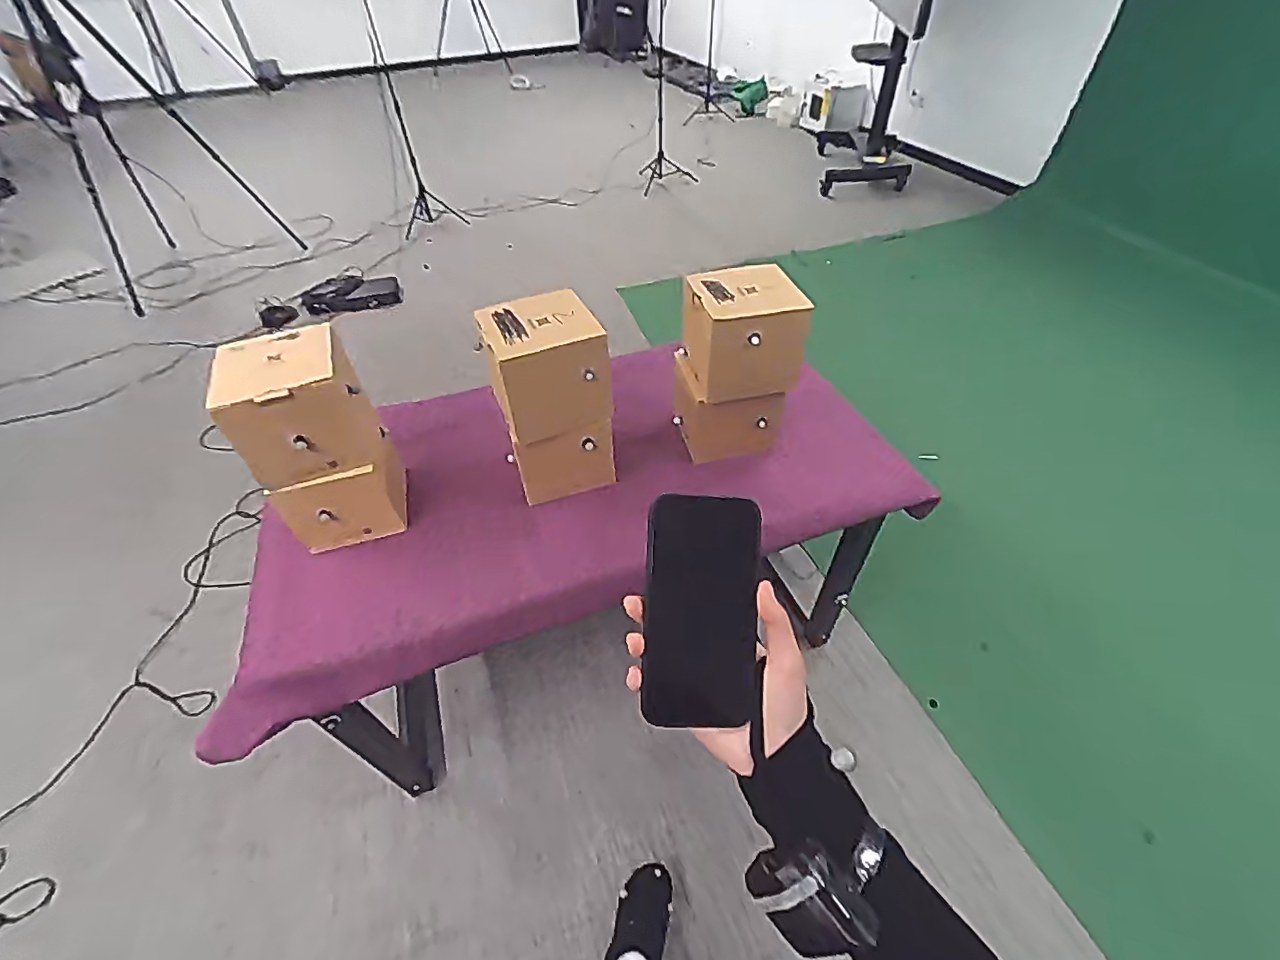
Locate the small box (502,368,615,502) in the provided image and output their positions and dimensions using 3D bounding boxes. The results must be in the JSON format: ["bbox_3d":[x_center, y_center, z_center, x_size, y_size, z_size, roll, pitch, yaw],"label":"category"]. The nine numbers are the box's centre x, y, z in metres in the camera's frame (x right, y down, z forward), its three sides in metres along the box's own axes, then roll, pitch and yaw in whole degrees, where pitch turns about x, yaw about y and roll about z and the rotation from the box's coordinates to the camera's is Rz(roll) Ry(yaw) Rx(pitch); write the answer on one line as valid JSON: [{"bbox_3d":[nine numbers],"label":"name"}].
[{"bbox_3d":[-0.151,-0.085,1.034,0.179,0.176,0.168,-15,47,-11],"label":"small box"}]

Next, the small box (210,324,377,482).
[{"bbox_3d":[-0.537,-0.116,0.861,0.168,0.176,0.179,-18,49,-15],"label":"small box"}]

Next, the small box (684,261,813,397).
[{"bbox_3d":[0.182,-0.266,0.965,0.179,0.176,0.168,-11,46,-7],"label":"small box"}]

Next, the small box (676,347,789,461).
[{"bbox_3d":[0.176,-0.162,1.091,0.179,0.176,0.168,-11,46,-7],"label":"small box"}]

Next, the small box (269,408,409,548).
[{"bbox_3d":[-0.527,0.003,0.974,0.168,0.176,0.179,-15,47,-11],"label":"small box"}]
